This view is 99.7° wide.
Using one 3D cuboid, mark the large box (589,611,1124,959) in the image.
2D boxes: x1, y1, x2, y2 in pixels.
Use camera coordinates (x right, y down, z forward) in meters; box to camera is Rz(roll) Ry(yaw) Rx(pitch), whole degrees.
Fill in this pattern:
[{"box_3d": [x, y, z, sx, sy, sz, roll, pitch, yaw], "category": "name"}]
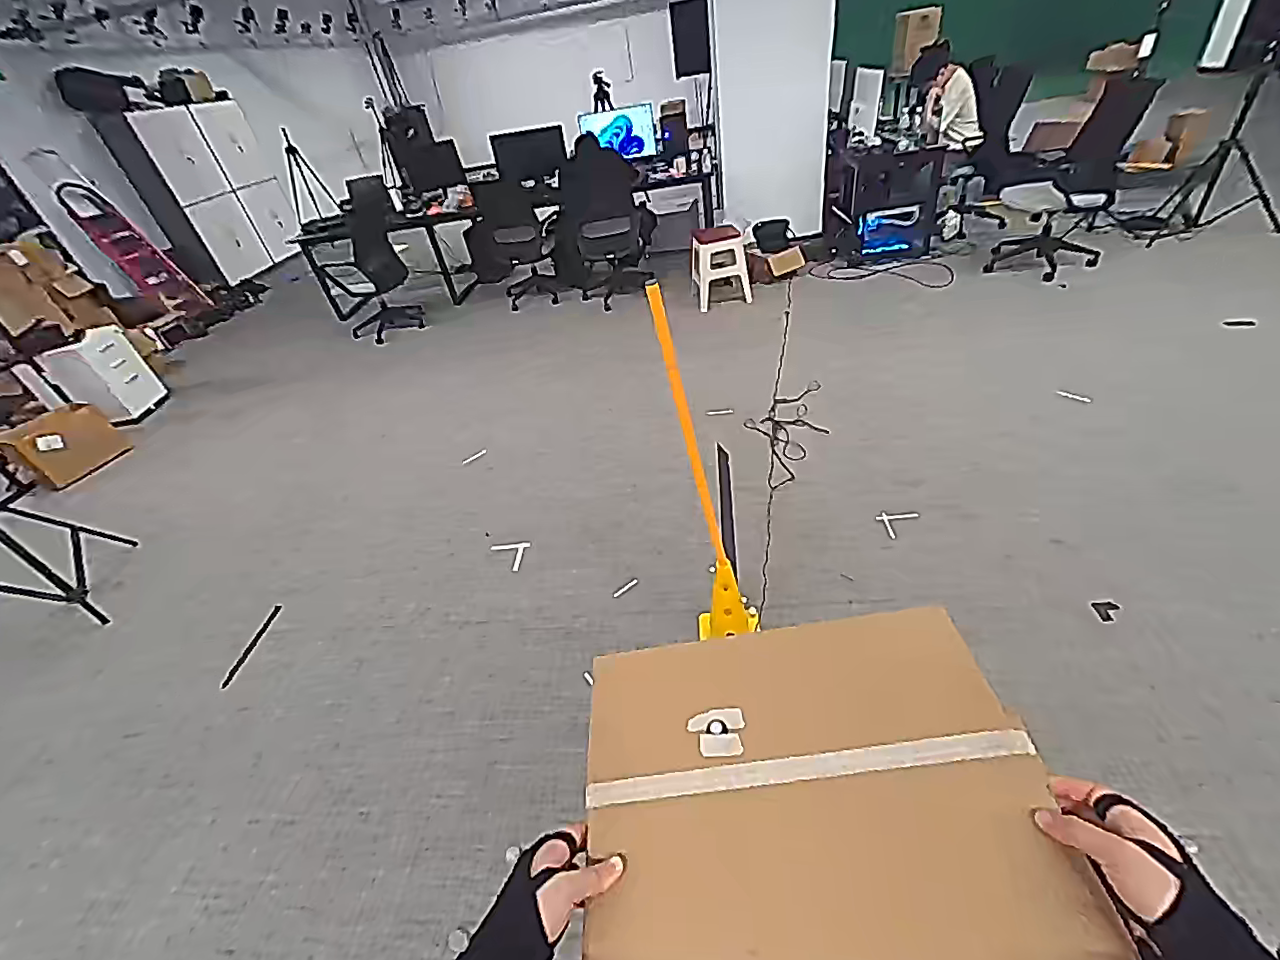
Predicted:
[{"box_3d": [0.183, 0.395, 0.608, 0.408, 0.320, 0.320, -12, 38, 7], "category": "large box"}]
